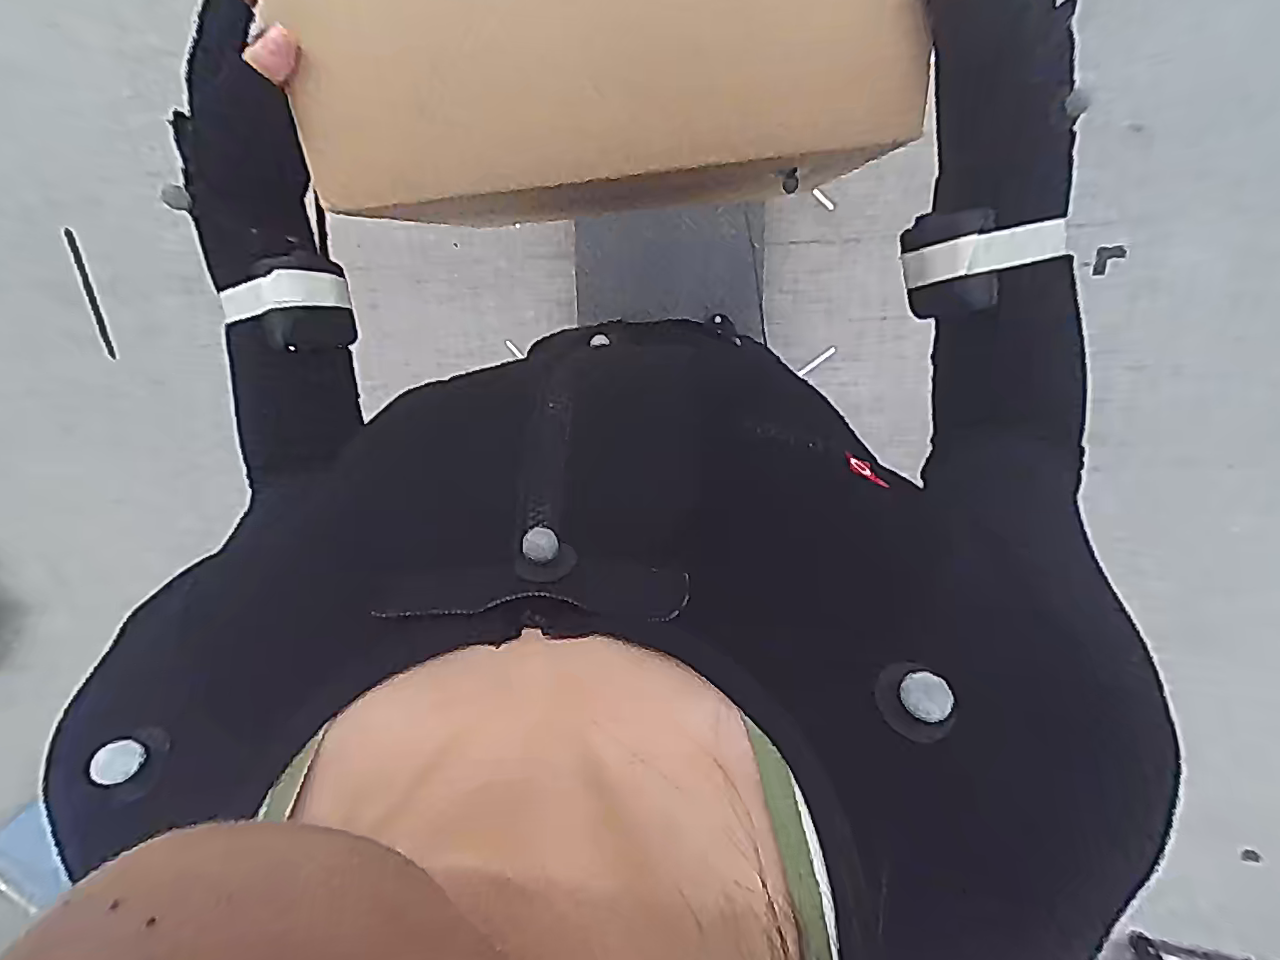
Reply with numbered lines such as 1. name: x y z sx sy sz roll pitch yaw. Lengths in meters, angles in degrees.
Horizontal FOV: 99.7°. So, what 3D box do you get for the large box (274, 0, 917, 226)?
1. large box: -0.028 -0.404 0.450 0.408 0.320 0.320 -4 112 5
